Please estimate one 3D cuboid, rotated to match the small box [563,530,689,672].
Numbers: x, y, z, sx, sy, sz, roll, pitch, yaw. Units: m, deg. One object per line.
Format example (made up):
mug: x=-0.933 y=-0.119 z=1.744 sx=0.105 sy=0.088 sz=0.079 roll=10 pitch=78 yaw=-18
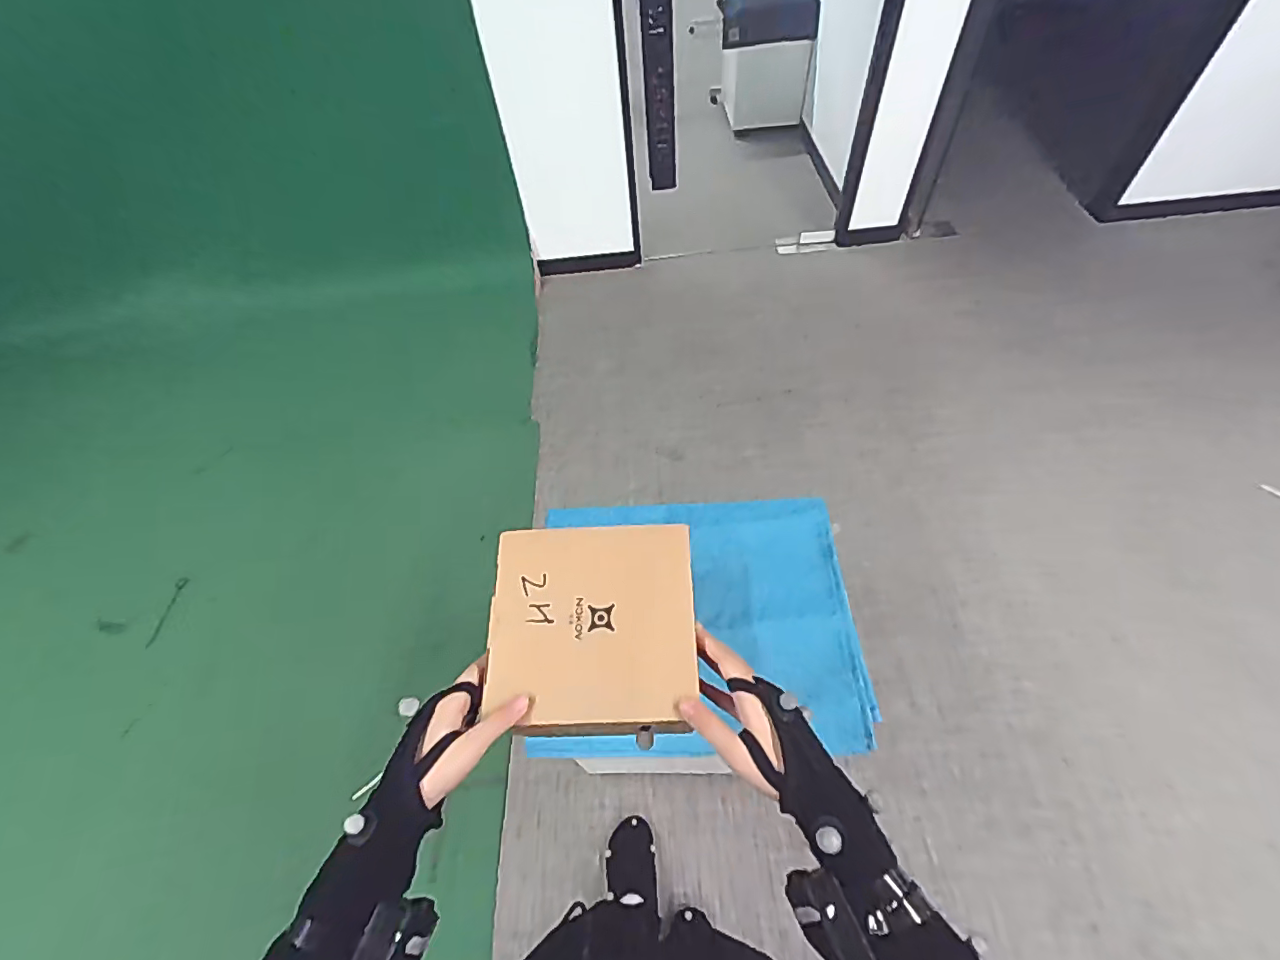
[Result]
small box: x=-0.016 y=0.194 z=0.847 sx=0.179 sy=0.176 sz=0.168 roll=-4 pitch=53 yaw=3
